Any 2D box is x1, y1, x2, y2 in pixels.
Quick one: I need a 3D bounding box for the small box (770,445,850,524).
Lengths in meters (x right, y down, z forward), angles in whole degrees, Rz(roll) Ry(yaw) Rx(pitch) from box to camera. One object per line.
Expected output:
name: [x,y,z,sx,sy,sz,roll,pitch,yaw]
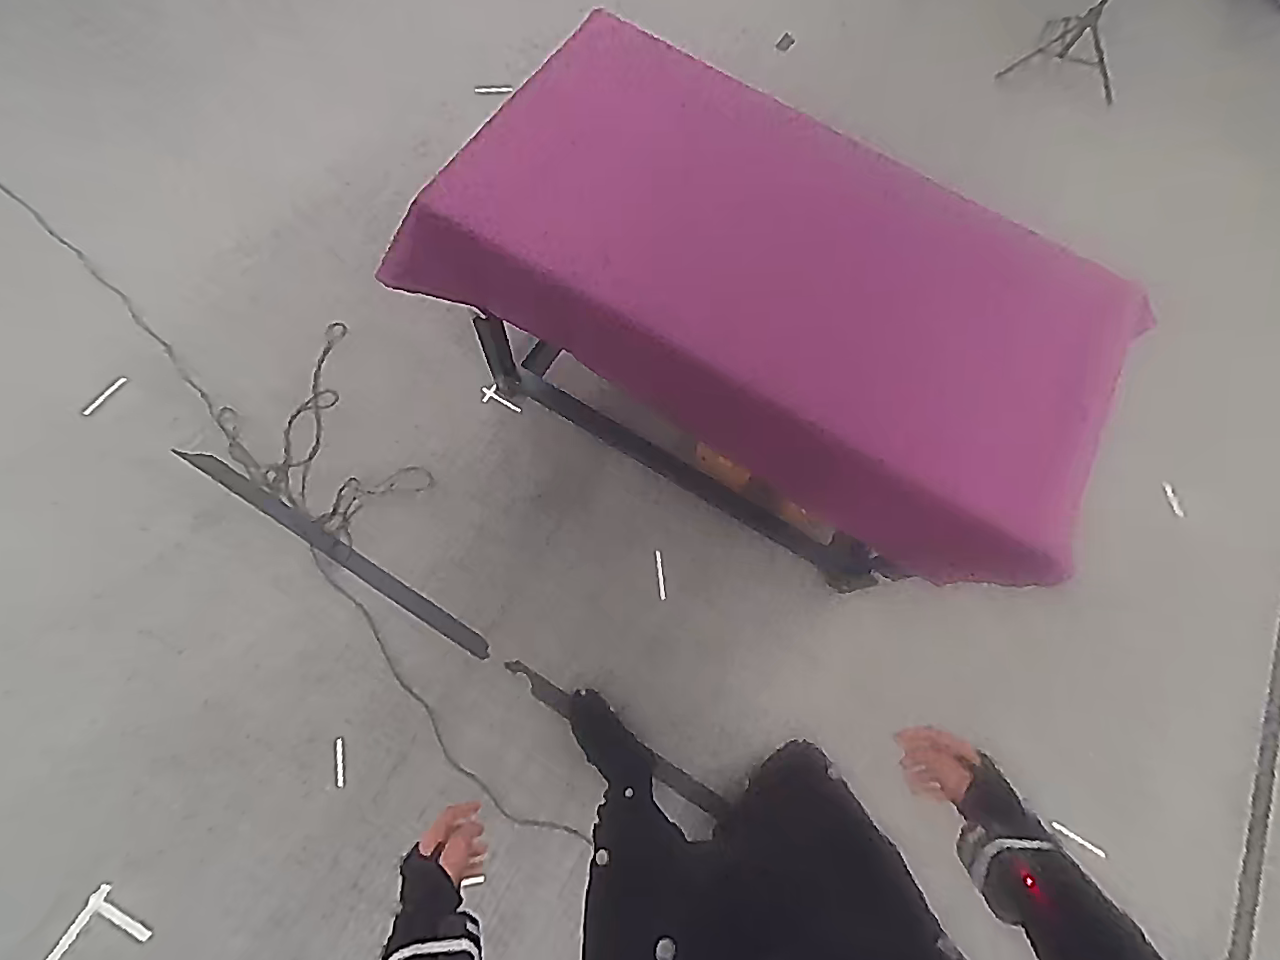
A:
small box: [0.475,0.017,1.534,0.168,0.176,0.179,3,72,-3]
